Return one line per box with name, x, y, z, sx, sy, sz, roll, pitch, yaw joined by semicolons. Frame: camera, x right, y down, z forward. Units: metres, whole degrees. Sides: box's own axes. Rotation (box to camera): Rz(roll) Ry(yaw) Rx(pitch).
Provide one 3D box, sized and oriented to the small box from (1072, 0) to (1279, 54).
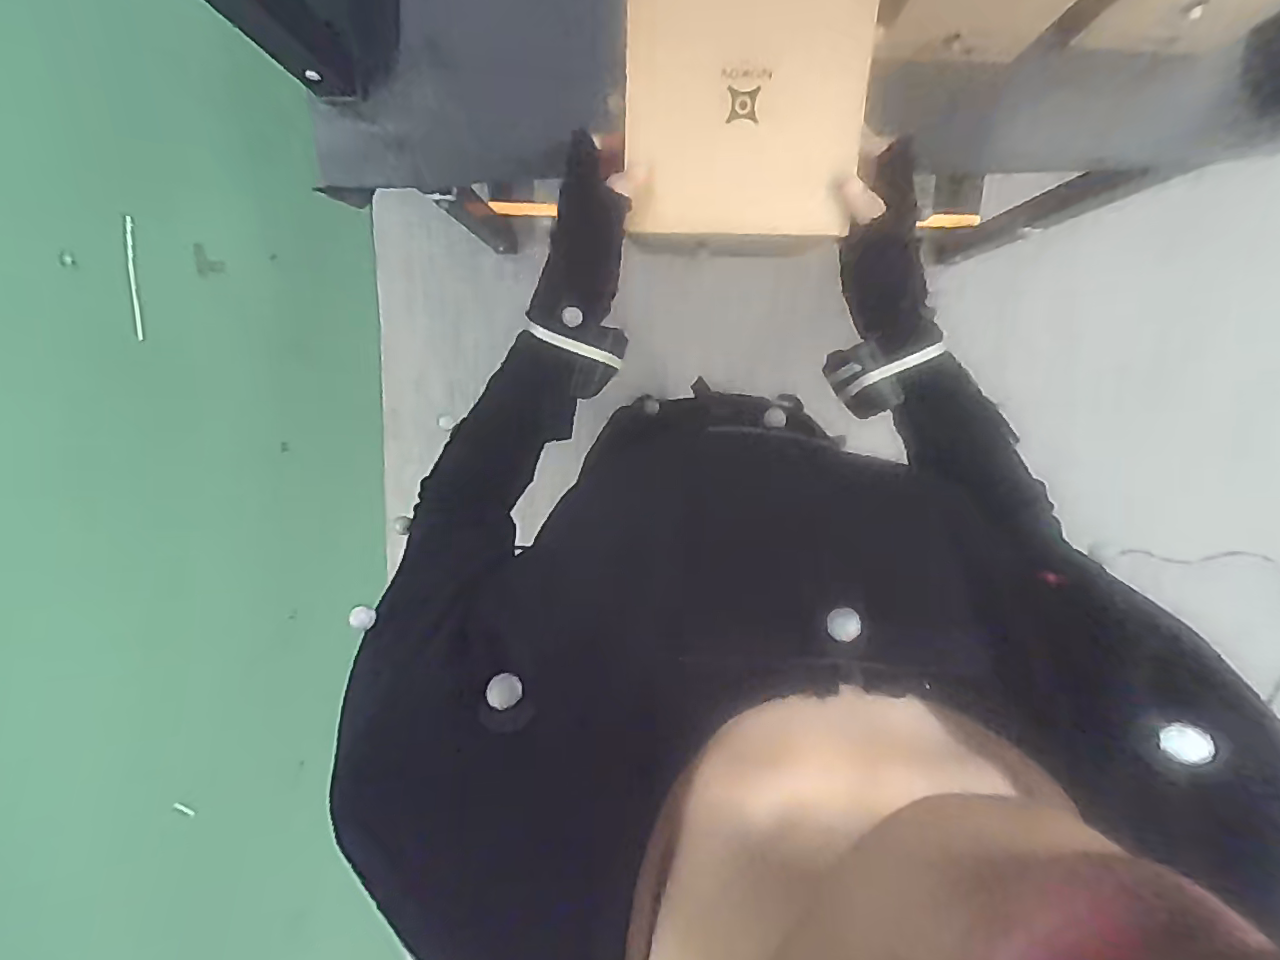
small box;0.586;-0.572;0.541;0.168;0.176;0.179;6;99;1
